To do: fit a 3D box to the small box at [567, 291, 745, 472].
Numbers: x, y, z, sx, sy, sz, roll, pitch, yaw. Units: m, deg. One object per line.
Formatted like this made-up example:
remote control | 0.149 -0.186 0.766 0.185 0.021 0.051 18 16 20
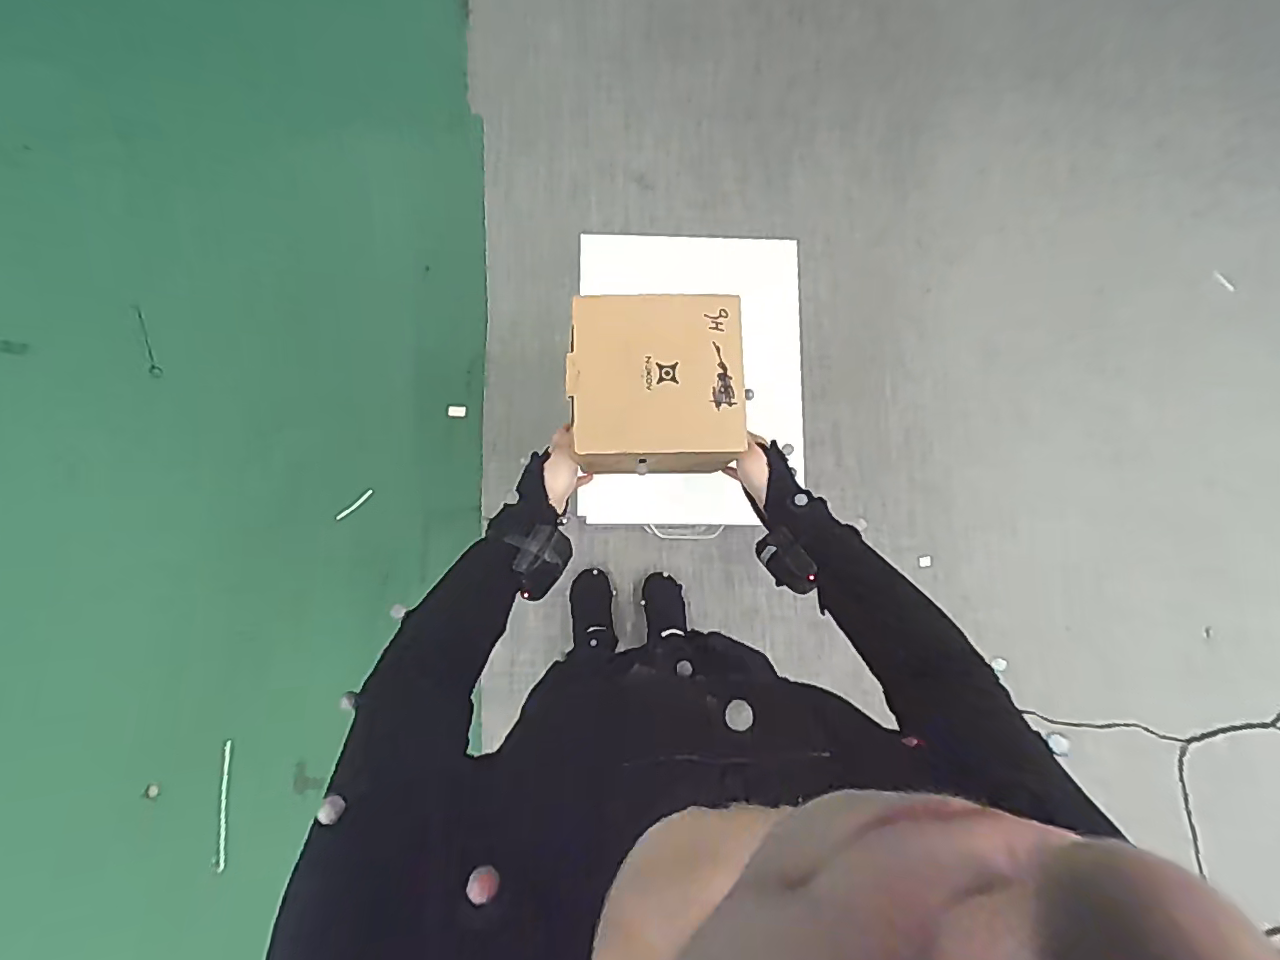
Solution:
small box | 0.014 -0.099 0.615 0.179 0.176 0.168 -1 84 -2
